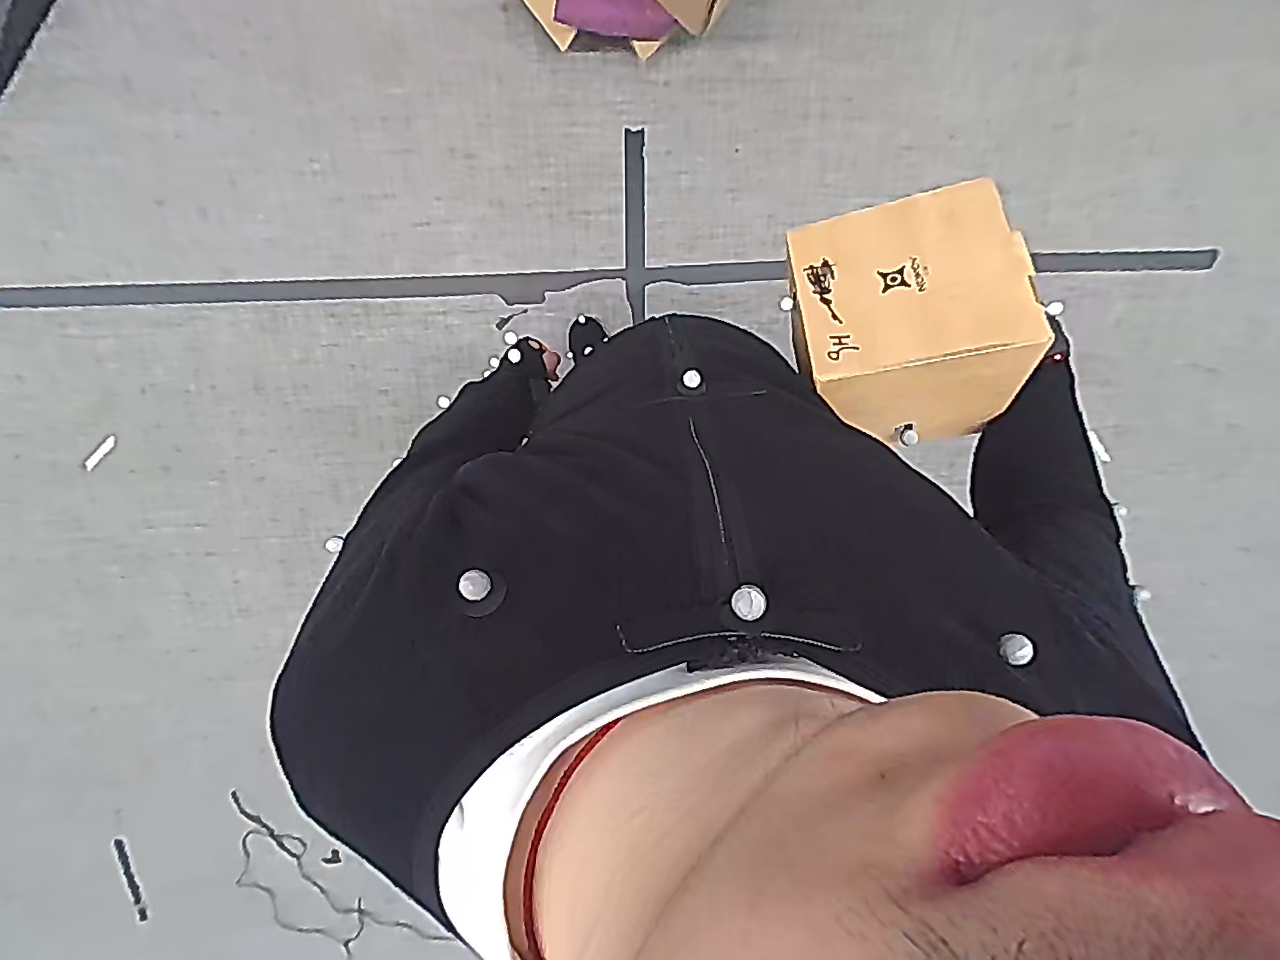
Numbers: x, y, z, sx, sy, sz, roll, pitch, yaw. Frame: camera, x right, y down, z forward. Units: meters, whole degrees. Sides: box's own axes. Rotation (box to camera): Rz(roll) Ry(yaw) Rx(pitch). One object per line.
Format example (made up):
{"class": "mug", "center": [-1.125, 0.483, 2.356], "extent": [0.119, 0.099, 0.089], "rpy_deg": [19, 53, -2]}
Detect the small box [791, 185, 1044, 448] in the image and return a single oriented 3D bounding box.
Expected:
{"class": "small box", "center": [0.252, -0.146, 0.541], "extent": [0.179, 0.176, 0.168], "rpy_deg": [-9, 67, 15]}
